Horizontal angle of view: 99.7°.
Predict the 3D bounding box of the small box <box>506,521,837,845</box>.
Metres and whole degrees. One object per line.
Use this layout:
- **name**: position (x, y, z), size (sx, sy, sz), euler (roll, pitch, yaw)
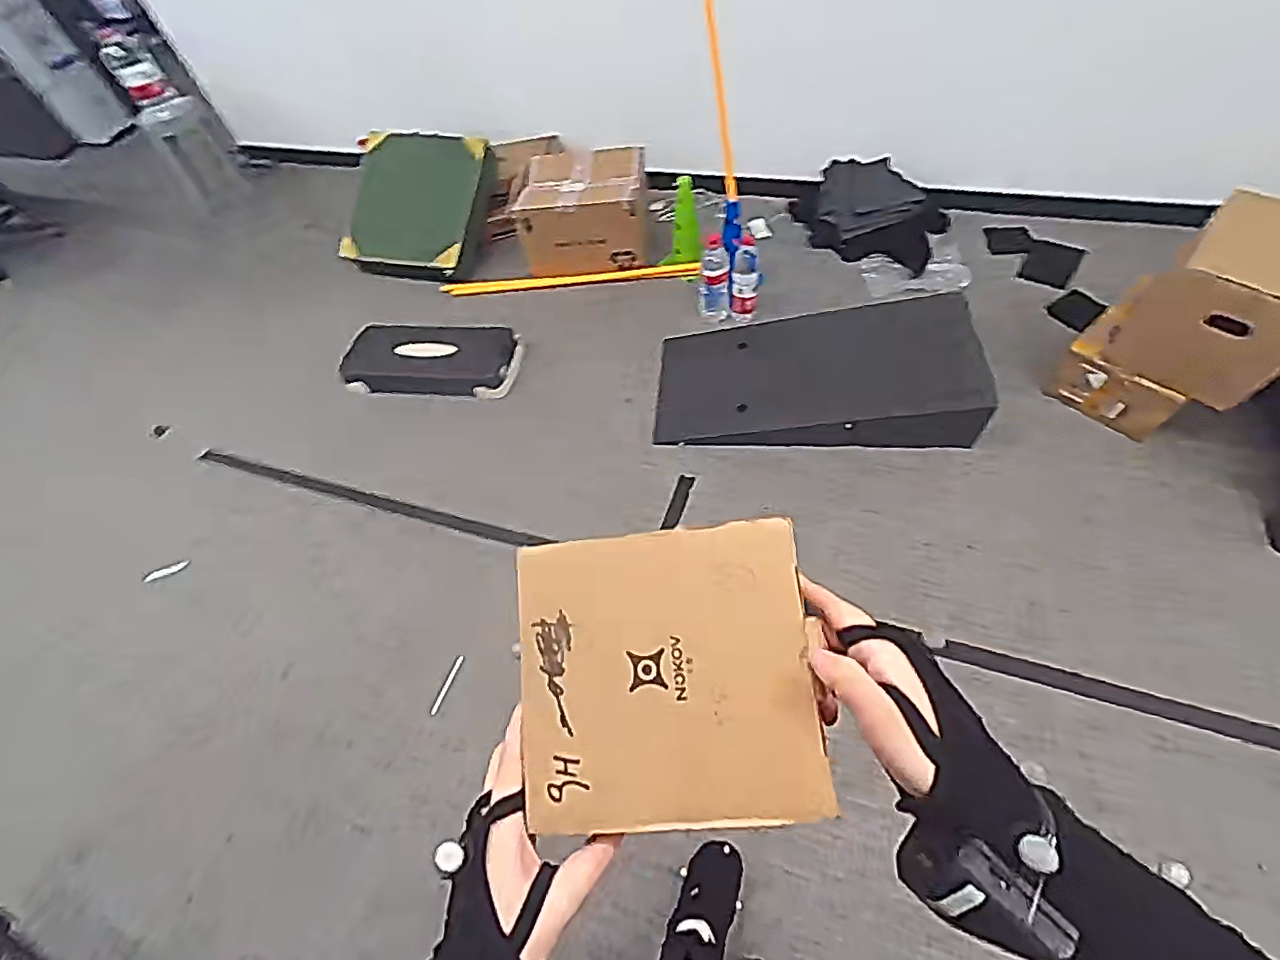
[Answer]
- **small box**: position (0.020, 0.129, 0.381), size (0.179, 0.176, 0.168), euler (-7, 75, 6)
